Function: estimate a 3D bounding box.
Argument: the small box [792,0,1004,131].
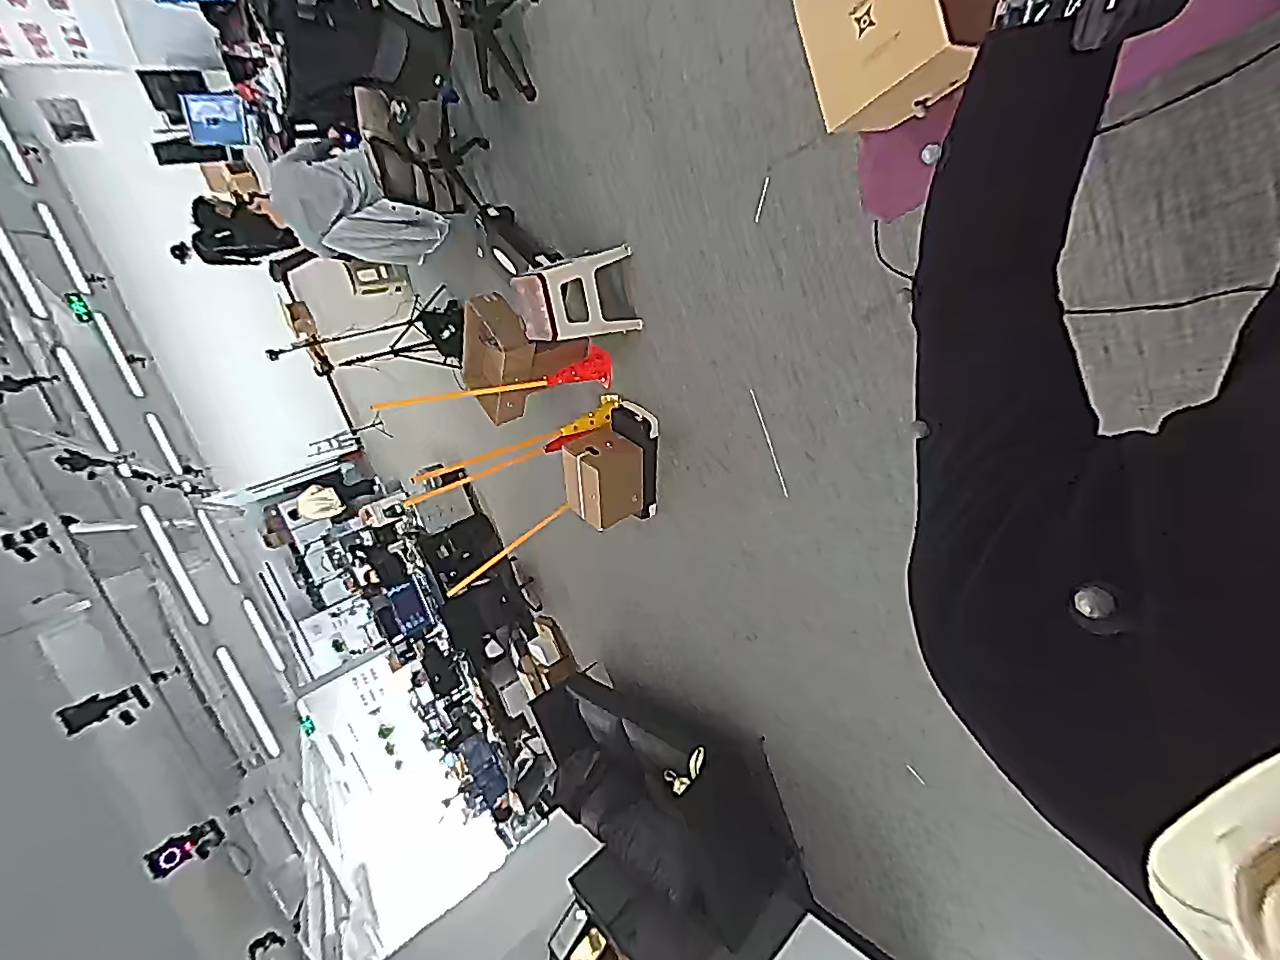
[{"bbox_3d":[0.332,-0.584,0.697,0.168,0.176,0.179,-6,106,57],"label":"small box"}]
